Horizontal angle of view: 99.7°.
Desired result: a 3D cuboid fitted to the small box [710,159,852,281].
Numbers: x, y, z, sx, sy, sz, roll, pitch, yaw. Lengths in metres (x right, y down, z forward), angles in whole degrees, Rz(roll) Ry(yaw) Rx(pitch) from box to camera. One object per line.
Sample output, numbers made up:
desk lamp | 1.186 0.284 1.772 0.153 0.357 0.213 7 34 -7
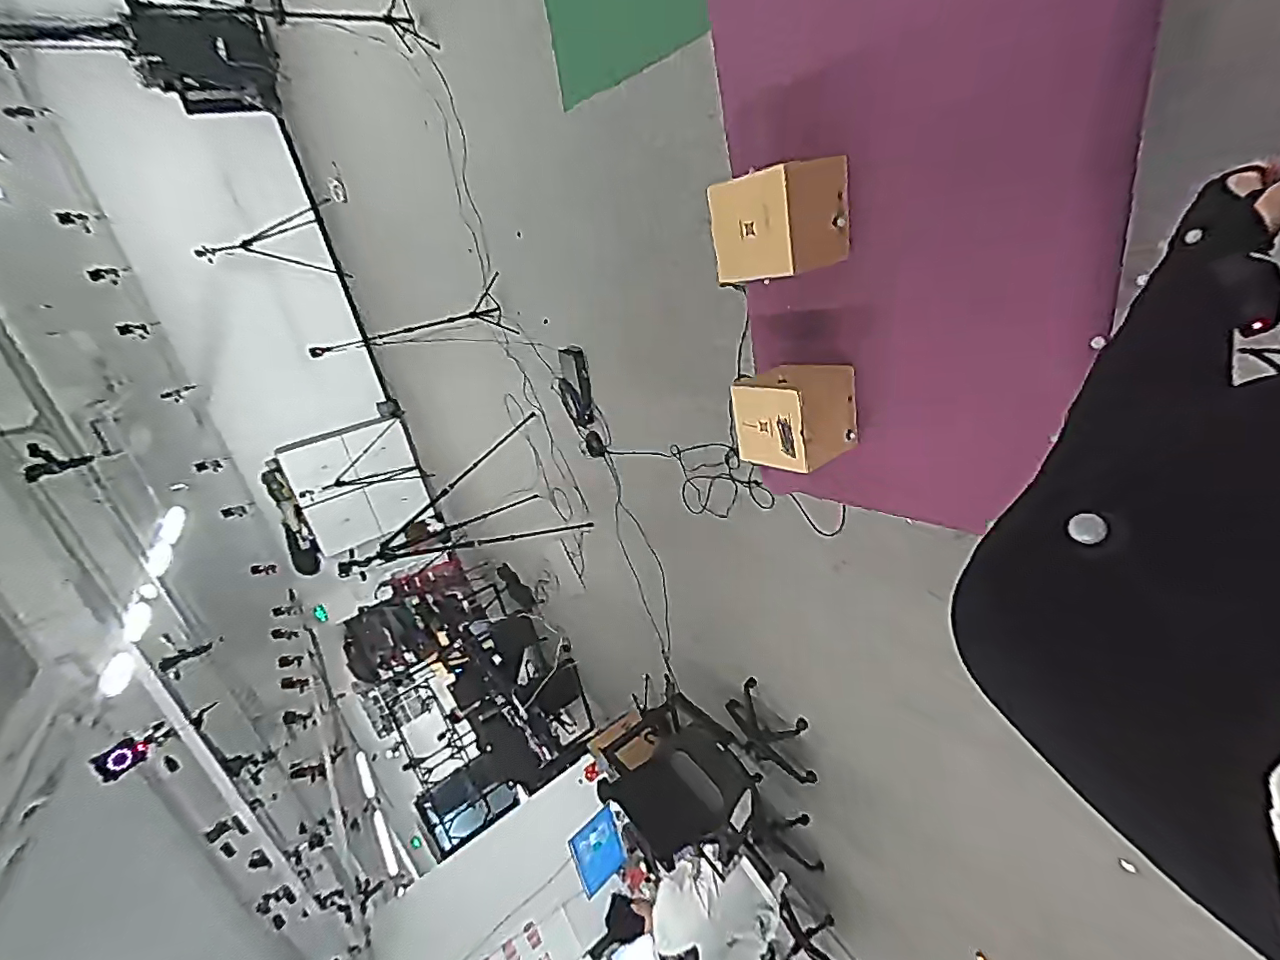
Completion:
small box | 0.253 -0.460 0.967 0.179 0.176 0.168 20 128 51

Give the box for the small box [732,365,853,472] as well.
small box | 0.316 -0.134 1.102 0.179 0.176 0.168 19 126 53
